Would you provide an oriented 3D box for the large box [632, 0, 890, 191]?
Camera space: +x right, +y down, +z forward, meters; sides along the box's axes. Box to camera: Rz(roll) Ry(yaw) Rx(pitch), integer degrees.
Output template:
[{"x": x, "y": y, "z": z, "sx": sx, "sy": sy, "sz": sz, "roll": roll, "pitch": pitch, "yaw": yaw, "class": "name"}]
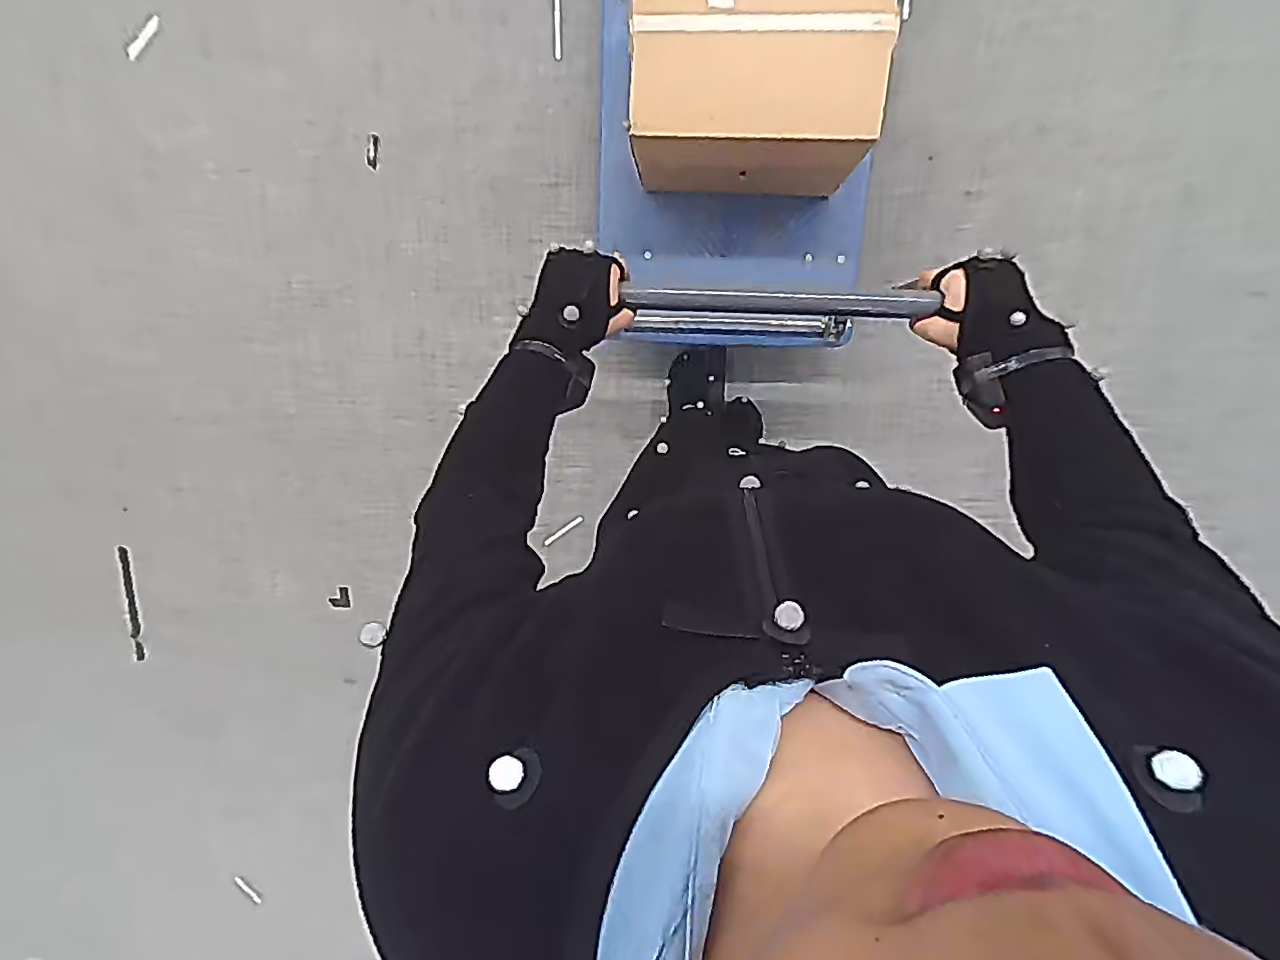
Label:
[{"x": 0.205, "y": -0.743, "z": 1.000, "sx": 0.408, "sy": 0.320, "sz": 0.320, "roll": 4, "pitch": 102, "yaw": 6, "class": "large box"}]
